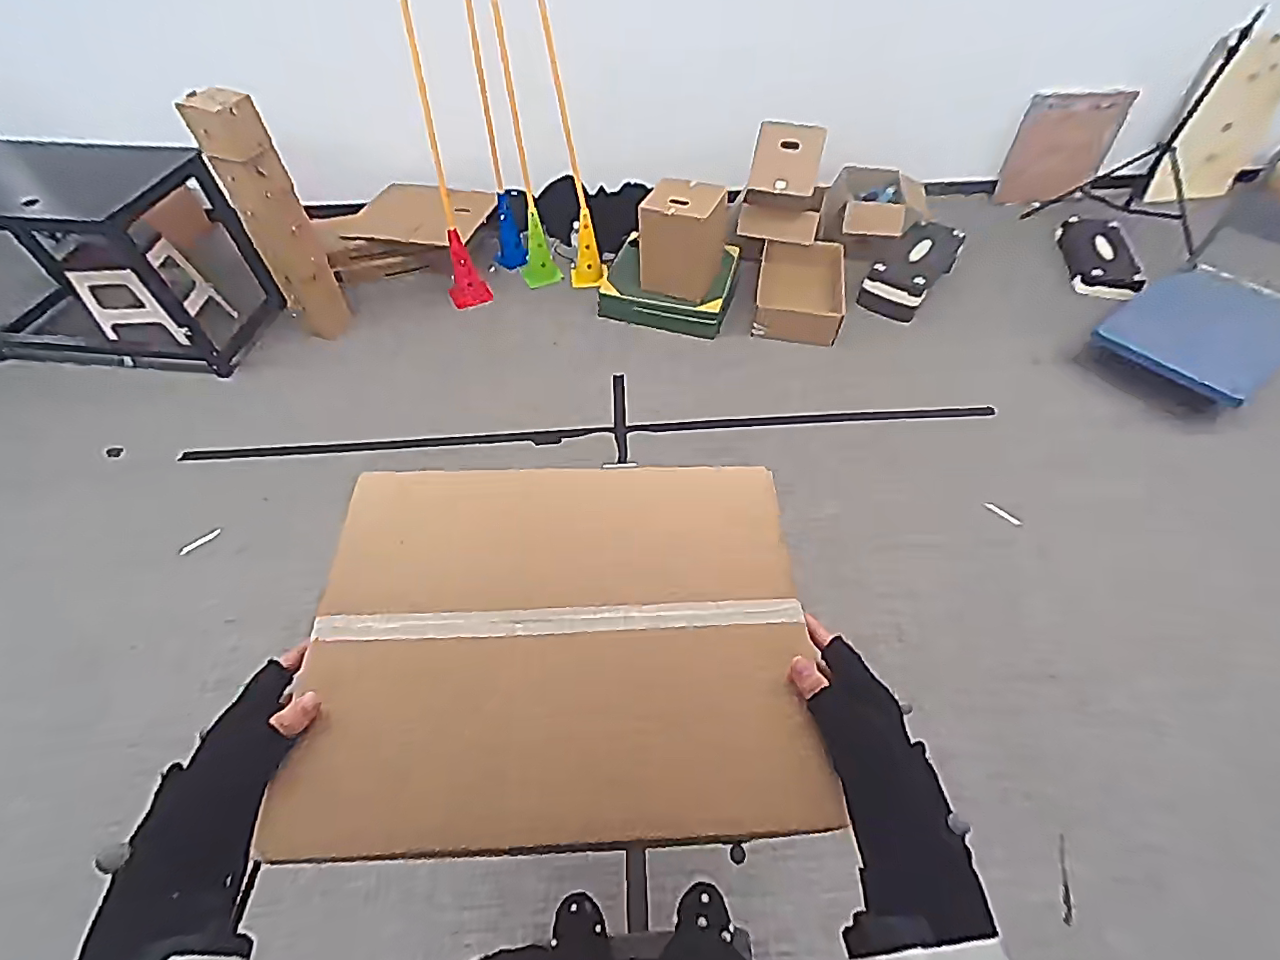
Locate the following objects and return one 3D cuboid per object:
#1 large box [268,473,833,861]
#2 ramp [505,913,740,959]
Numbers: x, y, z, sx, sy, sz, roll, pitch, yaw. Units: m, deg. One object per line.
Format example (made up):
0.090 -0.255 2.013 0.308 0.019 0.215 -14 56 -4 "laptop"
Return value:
-0.070 0.206 0.584 0.408 0.320 0.320 -1 55 -4 "large box"
-0.009 1.376 0.917 0.509 0.206 0.991 -3 53 -5 "ramp"
